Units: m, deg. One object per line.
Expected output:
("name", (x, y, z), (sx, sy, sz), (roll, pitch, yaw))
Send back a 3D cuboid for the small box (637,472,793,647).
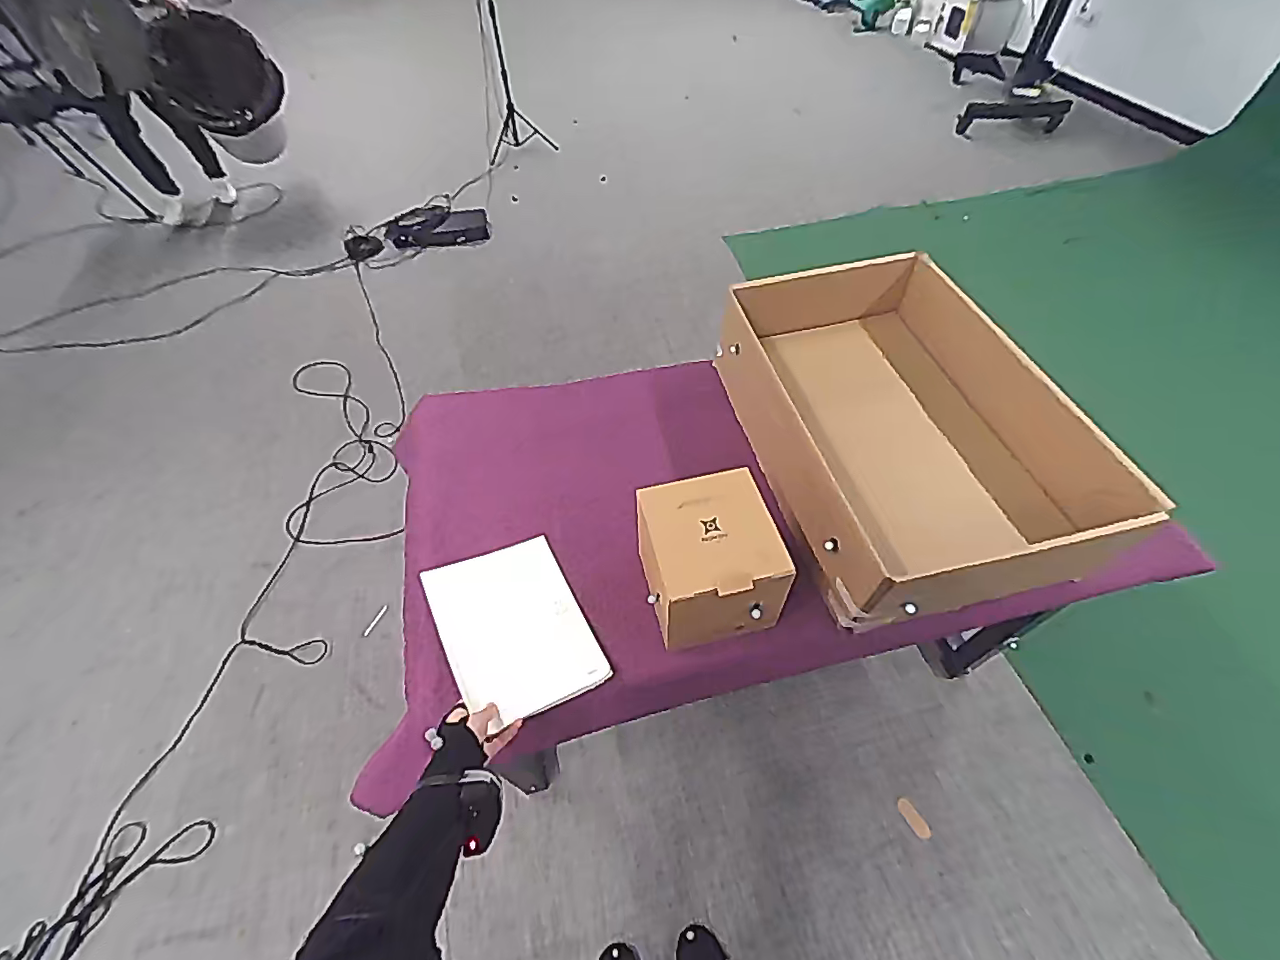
("small box", (0.095, 0.120, 0.766), (0.168, 0.176, 0.179), (-11, 51, -7))
